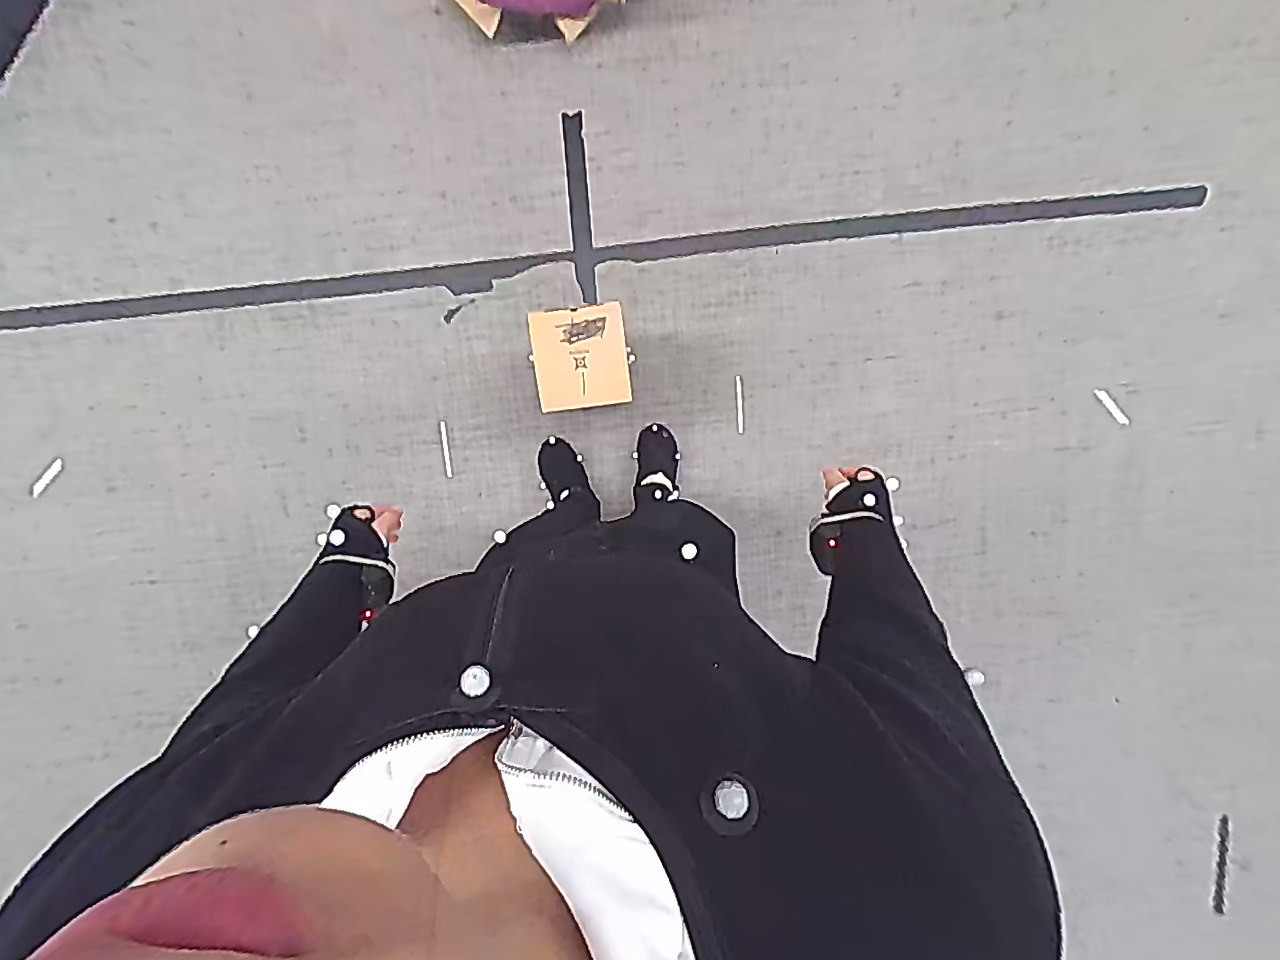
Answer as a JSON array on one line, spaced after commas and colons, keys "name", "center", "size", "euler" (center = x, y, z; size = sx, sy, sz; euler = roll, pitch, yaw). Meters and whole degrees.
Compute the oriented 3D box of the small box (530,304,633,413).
[{"name": "small box", "center": [-0.105, -0.224, 1.031], "size": [0.168, 0.176, 0.179], "euler": [-7, 99, 0]}]
